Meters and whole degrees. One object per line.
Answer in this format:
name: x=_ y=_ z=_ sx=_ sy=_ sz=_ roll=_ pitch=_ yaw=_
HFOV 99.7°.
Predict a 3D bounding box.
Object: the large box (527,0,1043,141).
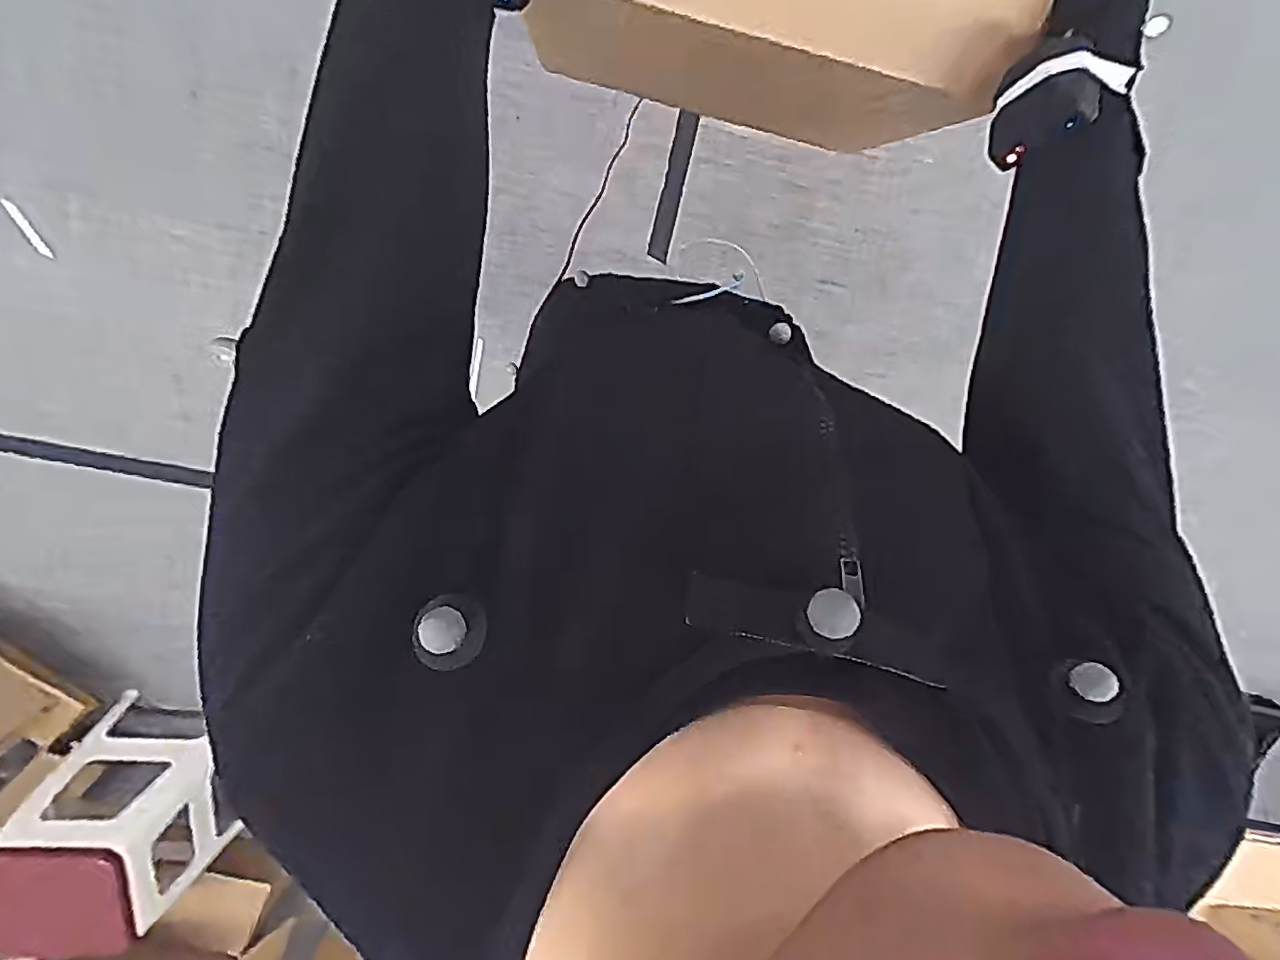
large box: x=0.119 y=-0.536 z=0.477 sx=0.408 sy=0.320 sz=0.320 roll=9 pitch=116 yaw=-8
